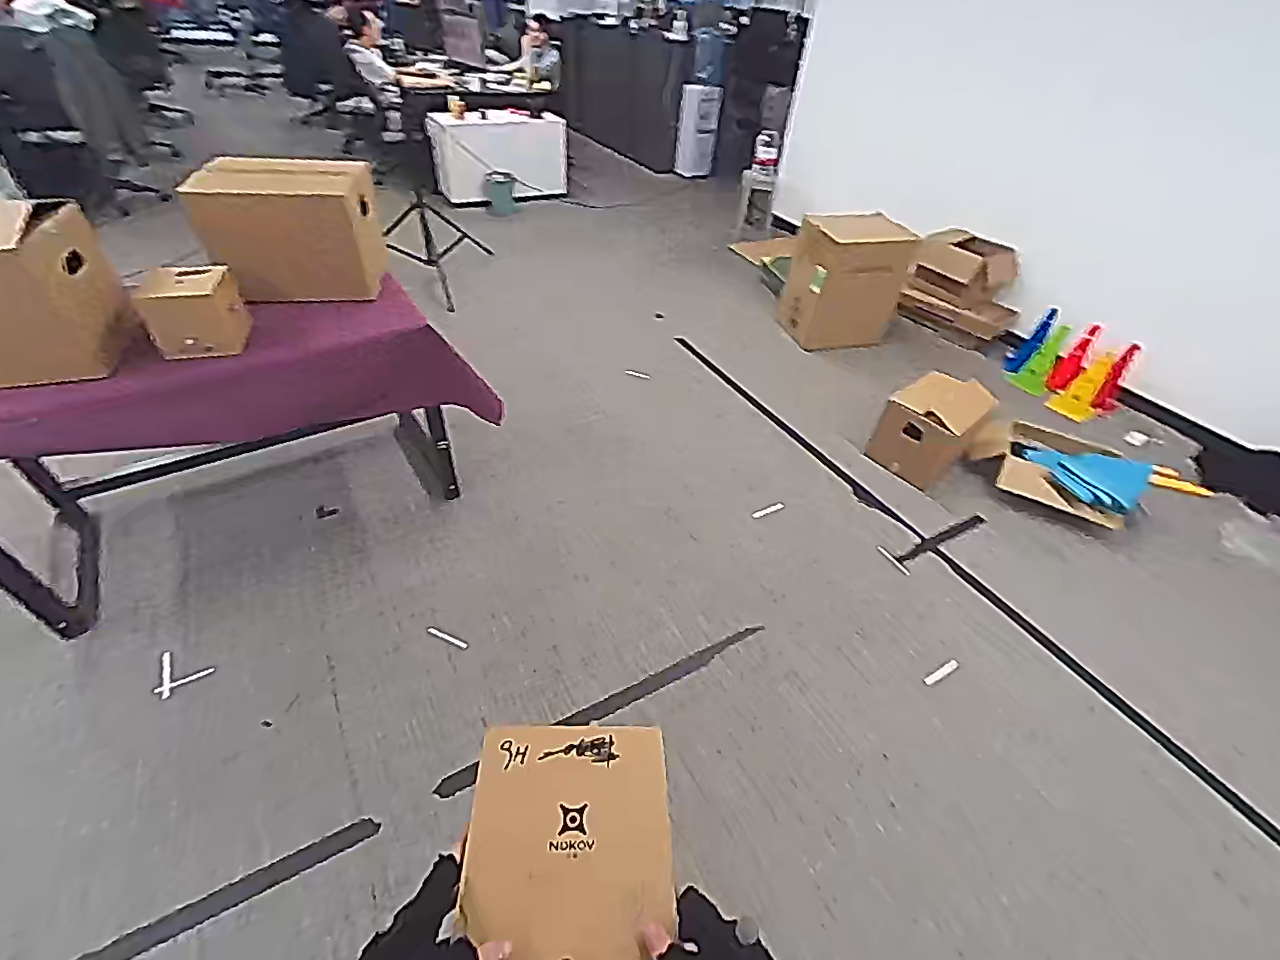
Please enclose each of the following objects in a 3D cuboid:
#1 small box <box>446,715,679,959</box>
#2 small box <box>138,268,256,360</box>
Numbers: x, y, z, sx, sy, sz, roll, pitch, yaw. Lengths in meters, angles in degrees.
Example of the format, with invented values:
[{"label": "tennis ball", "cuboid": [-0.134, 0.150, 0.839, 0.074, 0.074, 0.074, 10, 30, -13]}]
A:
[{"label": "small box", "cuboid": [-0.064, 0.335, 0.488, 0.168, 0.176, 0.179, 3, 41, -7]}, {"label": "small box", "cuboid": [-1.127, -0.430, 1.396, 0.168, 0.176, 0.179, -8, 45, -15]}]
